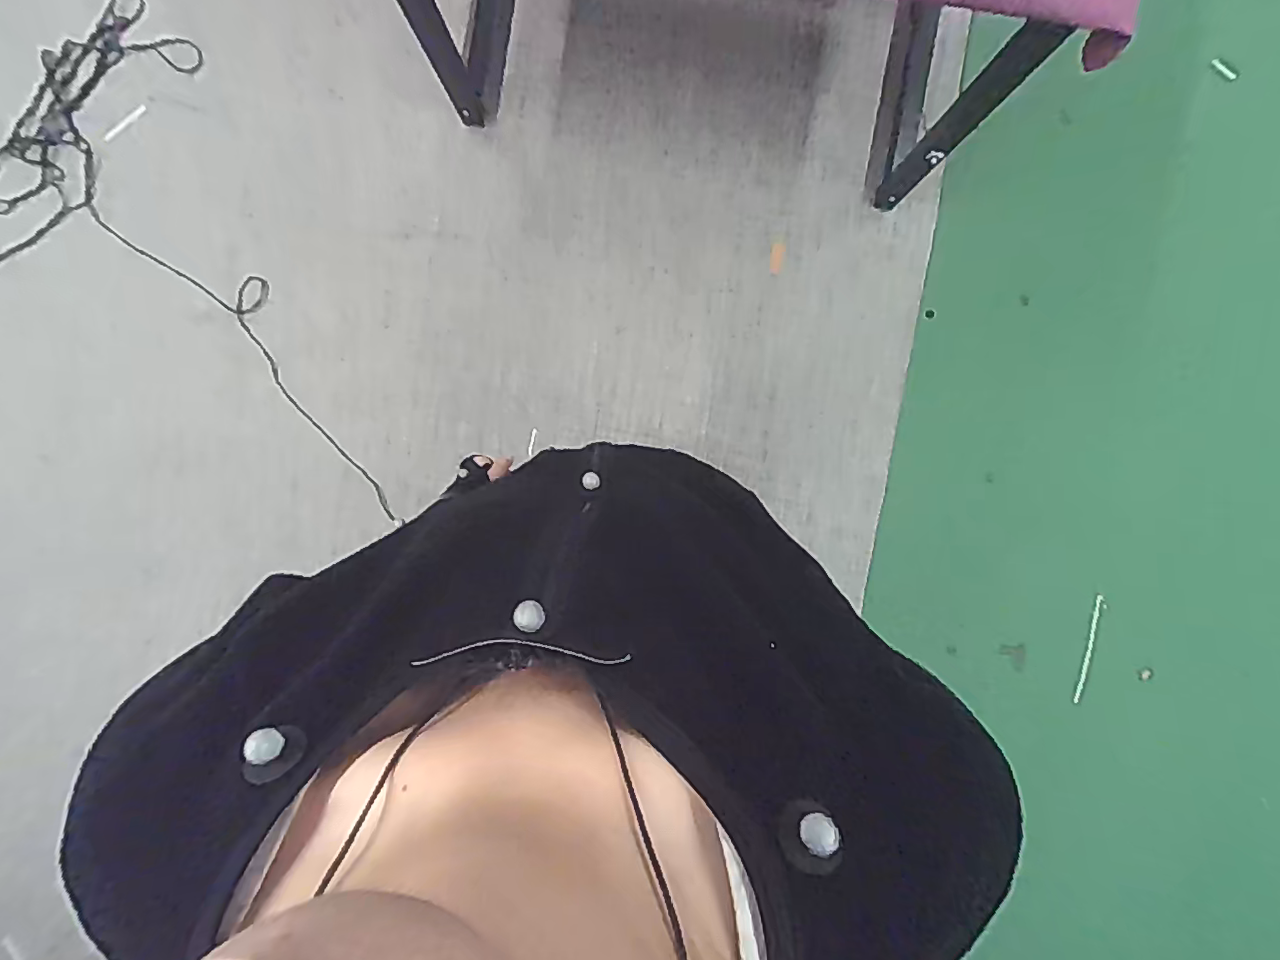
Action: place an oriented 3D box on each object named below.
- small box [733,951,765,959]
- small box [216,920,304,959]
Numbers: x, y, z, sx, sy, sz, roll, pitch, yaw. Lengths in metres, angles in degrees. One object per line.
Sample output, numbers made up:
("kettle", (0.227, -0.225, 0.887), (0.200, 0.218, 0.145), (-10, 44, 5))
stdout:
("small box", (0.243, 1.199, 1.177), (0.168, 0.176, 0.179), (-28, 92, 1))
("small box", (-0.885, 1.131, 1.176), (0.168, 0.176, 0.179), (44, 93, -1))
